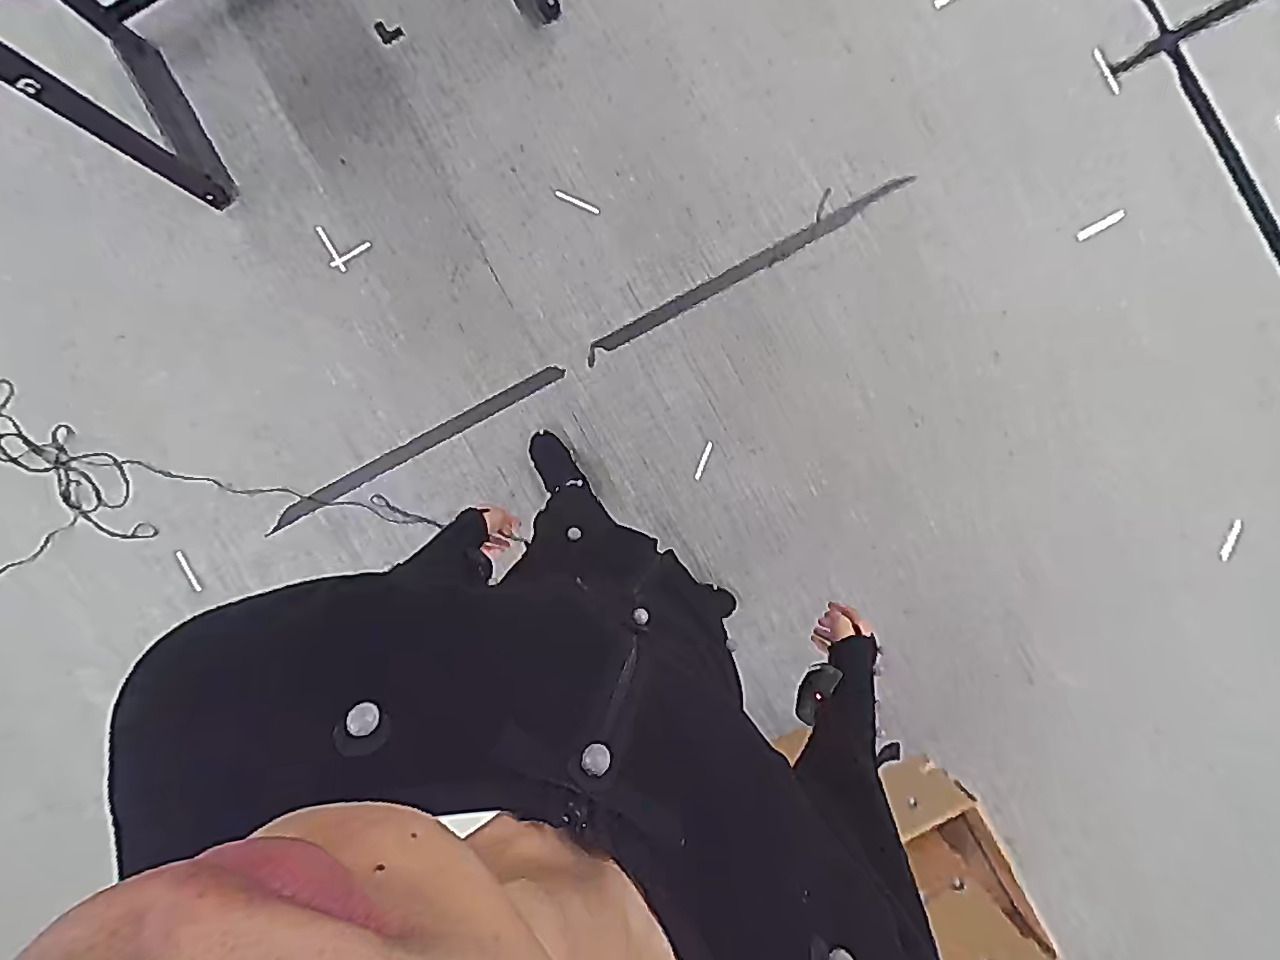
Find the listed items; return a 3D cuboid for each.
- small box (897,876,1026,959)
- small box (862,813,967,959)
[{"bbox_3d":[0.612,0.878,0.991,0.168,0.176,0.179,-32,93,0],"label":"small box"},{"bbox_3d":[0.603,0.869,1.153,0.179,0.176,0.168,-35,93,0],"label":"small box"}]
